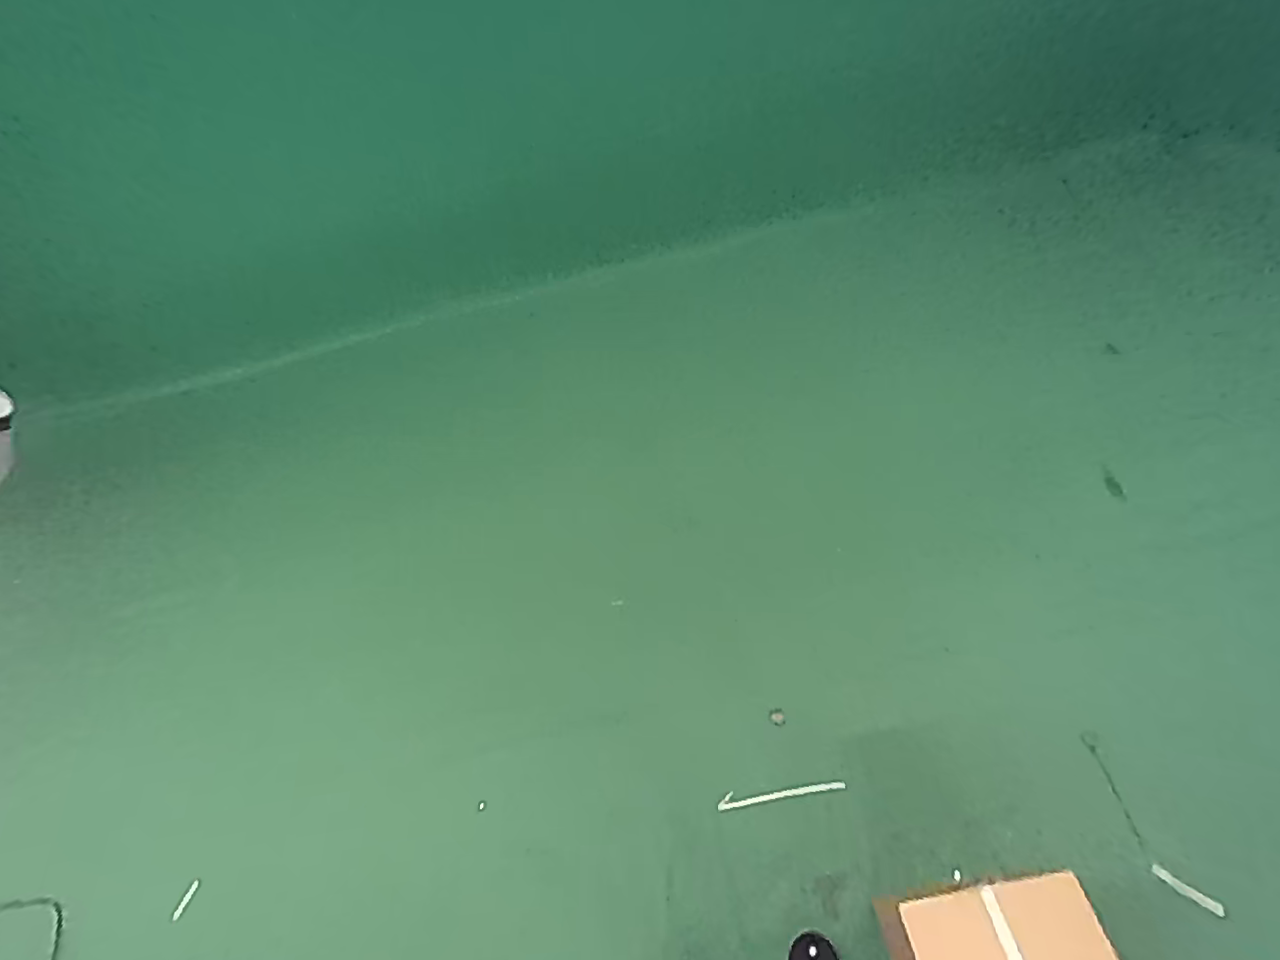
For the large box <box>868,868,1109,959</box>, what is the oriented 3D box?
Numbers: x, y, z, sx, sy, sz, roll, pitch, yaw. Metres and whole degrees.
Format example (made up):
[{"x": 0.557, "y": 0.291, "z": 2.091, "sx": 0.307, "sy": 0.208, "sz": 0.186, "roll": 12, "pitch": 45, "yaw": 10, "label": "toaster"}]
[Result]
[{"x": 0.664, "y": 0.974, "z": 0.973, "sx": 0.320, "sy": 0.320, "sz": 0.408, "roll": -13, "pitch": 54, "yaw": 3, "label": "large box"}]
